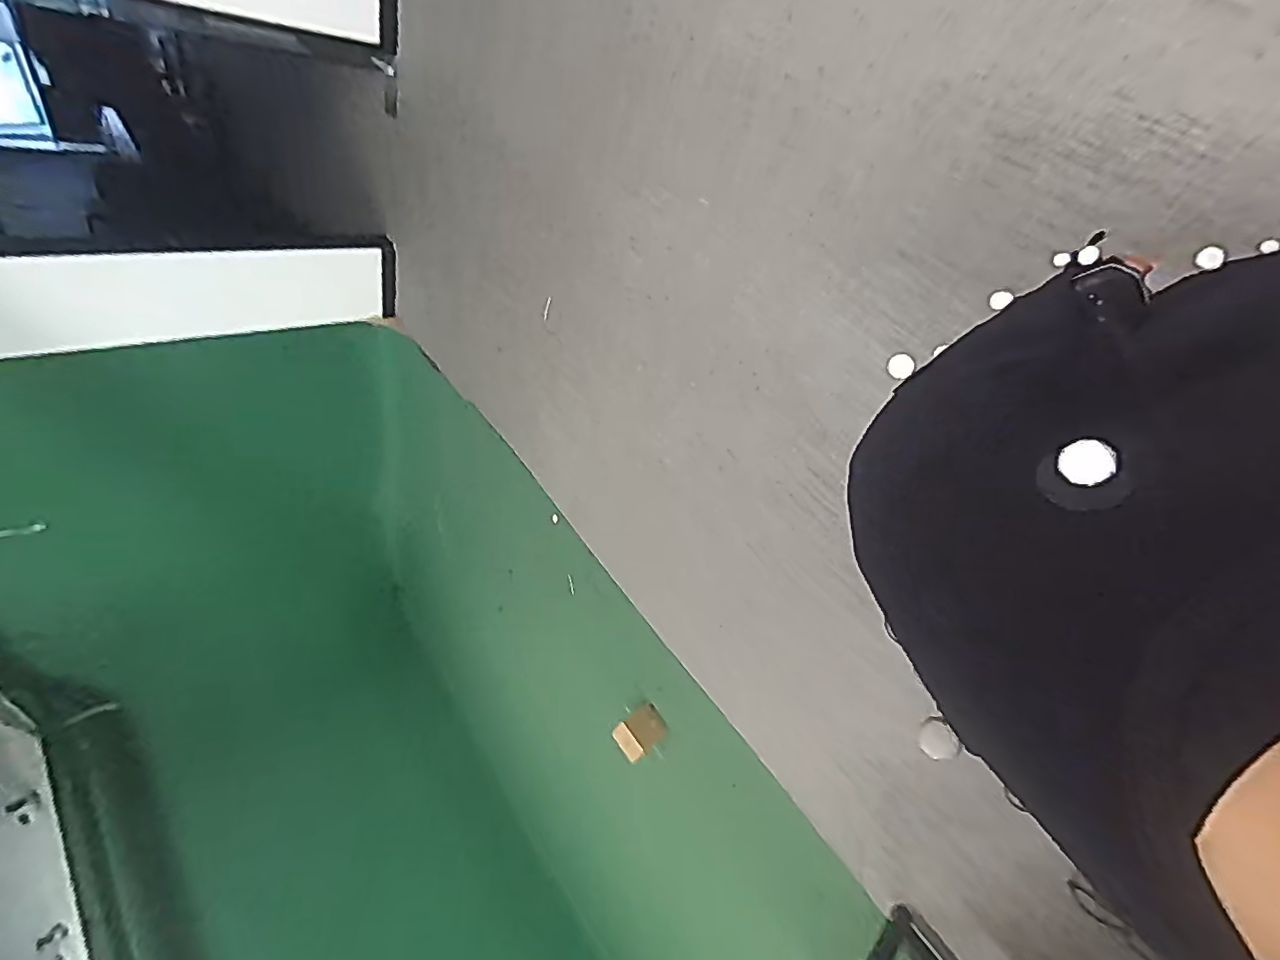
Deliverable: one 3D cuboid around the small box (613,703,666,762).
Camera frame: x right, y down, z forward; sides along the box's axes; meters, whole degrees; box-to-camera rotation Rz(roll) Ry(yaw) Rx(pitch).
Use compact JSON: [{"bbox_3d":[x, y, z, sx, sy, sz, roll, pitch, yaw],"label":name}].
[{"bbox_3d":[0.000,1.218,2.612,0.168,0.176,0.179,46,135,23],"label":"small box"}]
